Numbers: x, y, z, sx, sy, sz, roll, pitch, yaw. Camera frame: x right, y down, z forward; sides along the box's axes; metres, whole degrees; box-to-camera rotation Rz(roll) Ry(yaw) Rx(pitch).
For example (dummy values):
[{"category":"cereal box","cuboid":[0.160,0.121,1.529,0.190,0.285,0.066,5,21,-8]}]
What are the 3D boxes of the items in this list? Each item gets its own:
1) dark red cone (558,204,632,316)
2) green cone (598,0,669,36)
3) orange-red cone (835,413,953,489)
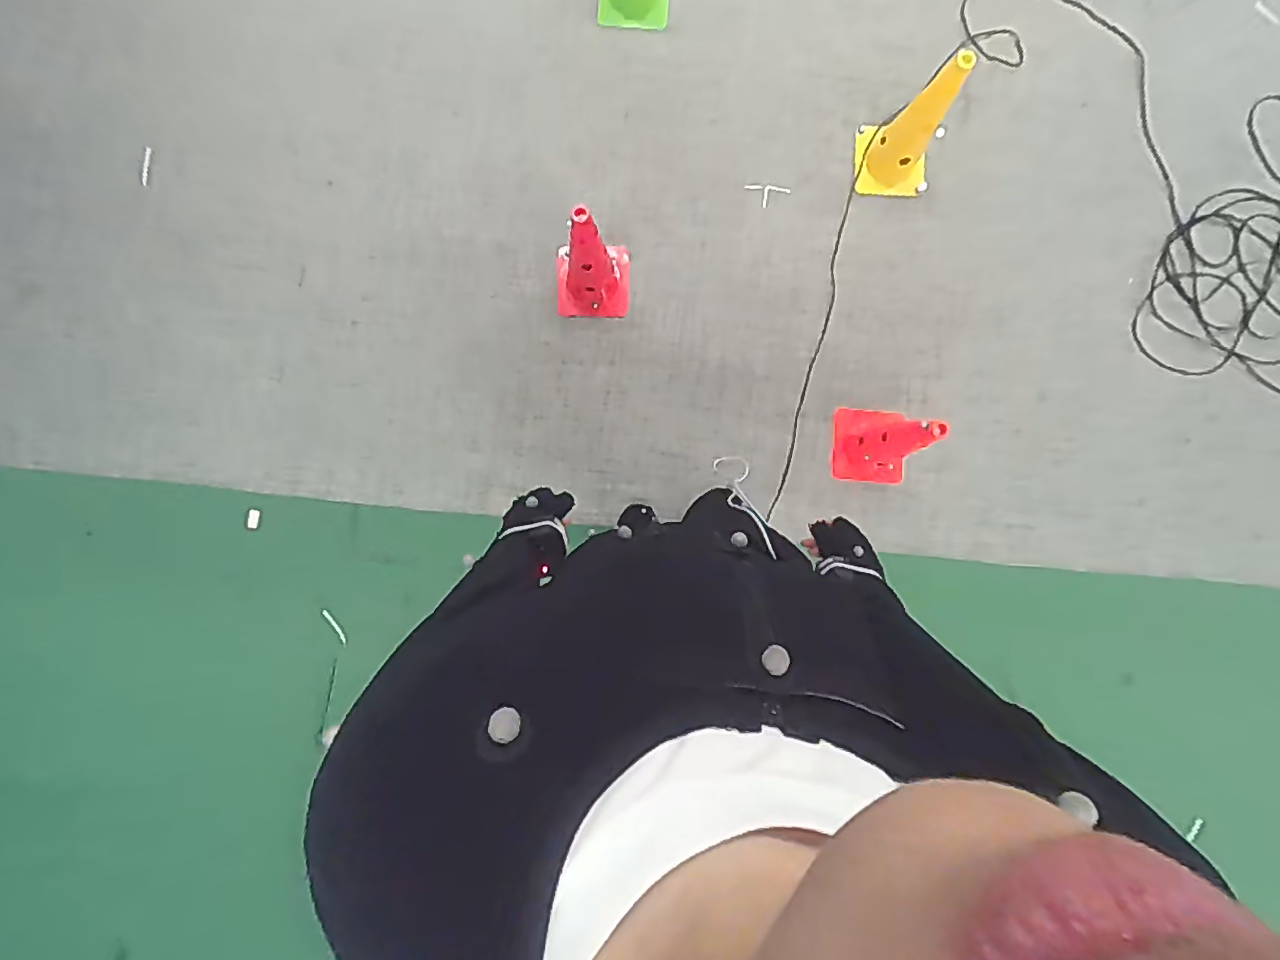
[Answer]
[{"category":"dark red cone","cuboid":[-0.122,-0.553,1.319,0.202,0.394,0.201,0,88,0]},{"category":"green cone","cuboid":[-0.011,-1.390,1.388,0.202,0.368,0.200,4,87,-2]},{"category":"orange-red cone","cuboid":[0.643,-0.093,1.324,0.198,0.360,0.199,6,86,-1]}]
